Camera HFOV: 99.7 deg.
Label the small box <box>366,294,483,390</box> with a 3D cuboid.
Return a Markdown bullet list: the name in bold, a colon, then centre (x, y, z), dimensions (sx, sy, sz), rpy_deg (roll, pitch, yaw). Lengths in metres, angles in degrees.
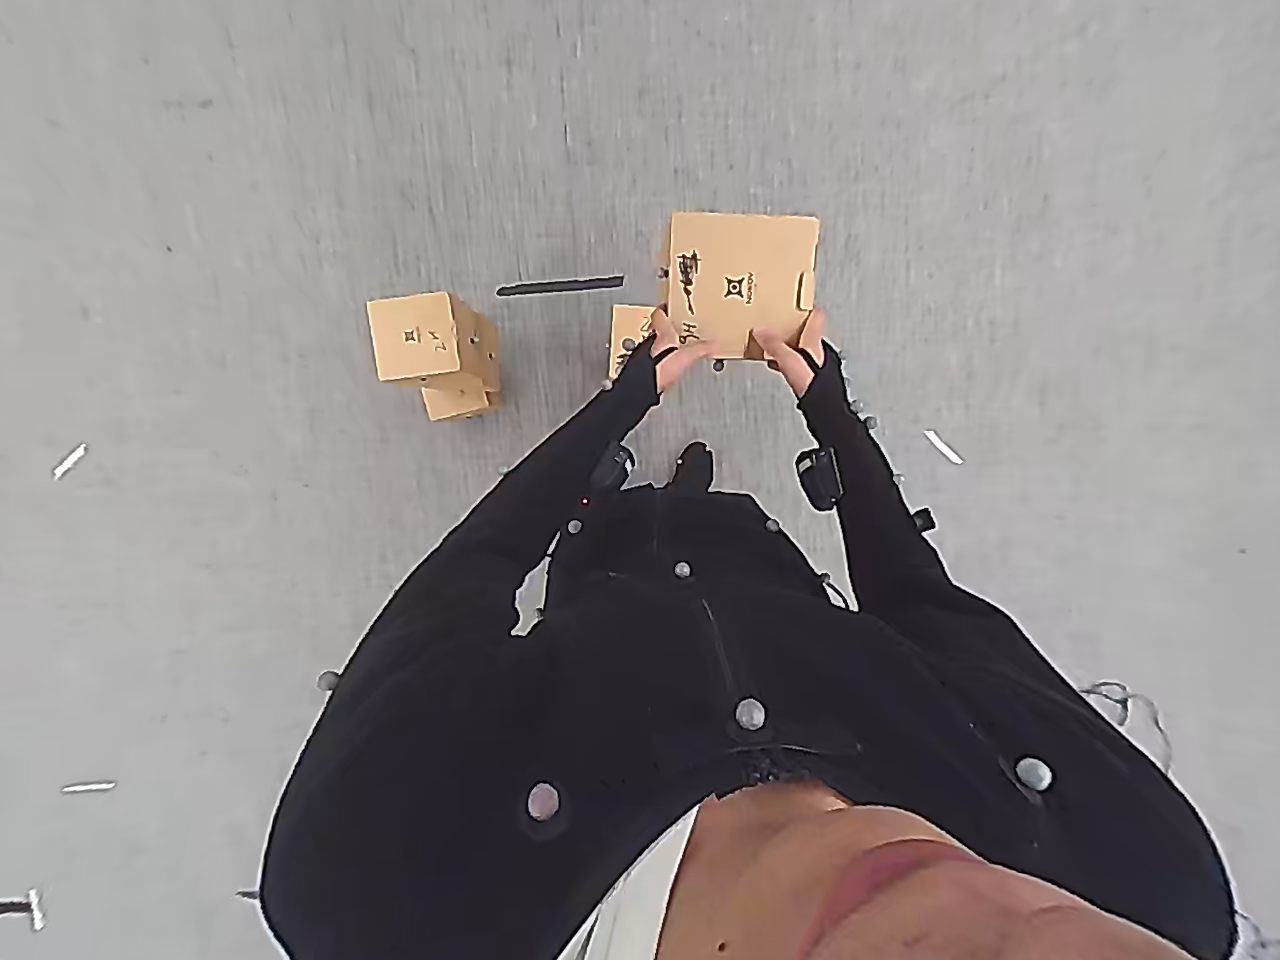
- **small box**: centre (-0.464, -0.295, 1.185), dimensions (0.179, 0.176, 0.168), rpy_deg (-7, 94, 0)

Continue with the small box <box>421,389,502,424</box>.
- **small box**: centre (-0.503, -0.260, 1.516), dimensions (0.168, 0.176, 0.179), rpy_deg (-15, 95, 1)

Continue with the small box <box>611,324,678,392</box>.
- **small box**: centre (0.012, -0.339, 1.522), dimensions (0.179, 0.176, 0.168), rpy_deg (-3, 95, -2)

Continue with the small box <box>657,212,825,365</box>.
- **small box**: centre (0.119, -0.239, 0.709), dimensions (0.179, 0.176, 0.168), rpy_deg (1, 102, -3)

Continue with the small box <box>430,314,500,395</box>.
- **small box**: centre (-0.451, -0.309, 1.349), dimensions (0.168, 0.176, 0.179), rpy_deg (0, 95, 0)
